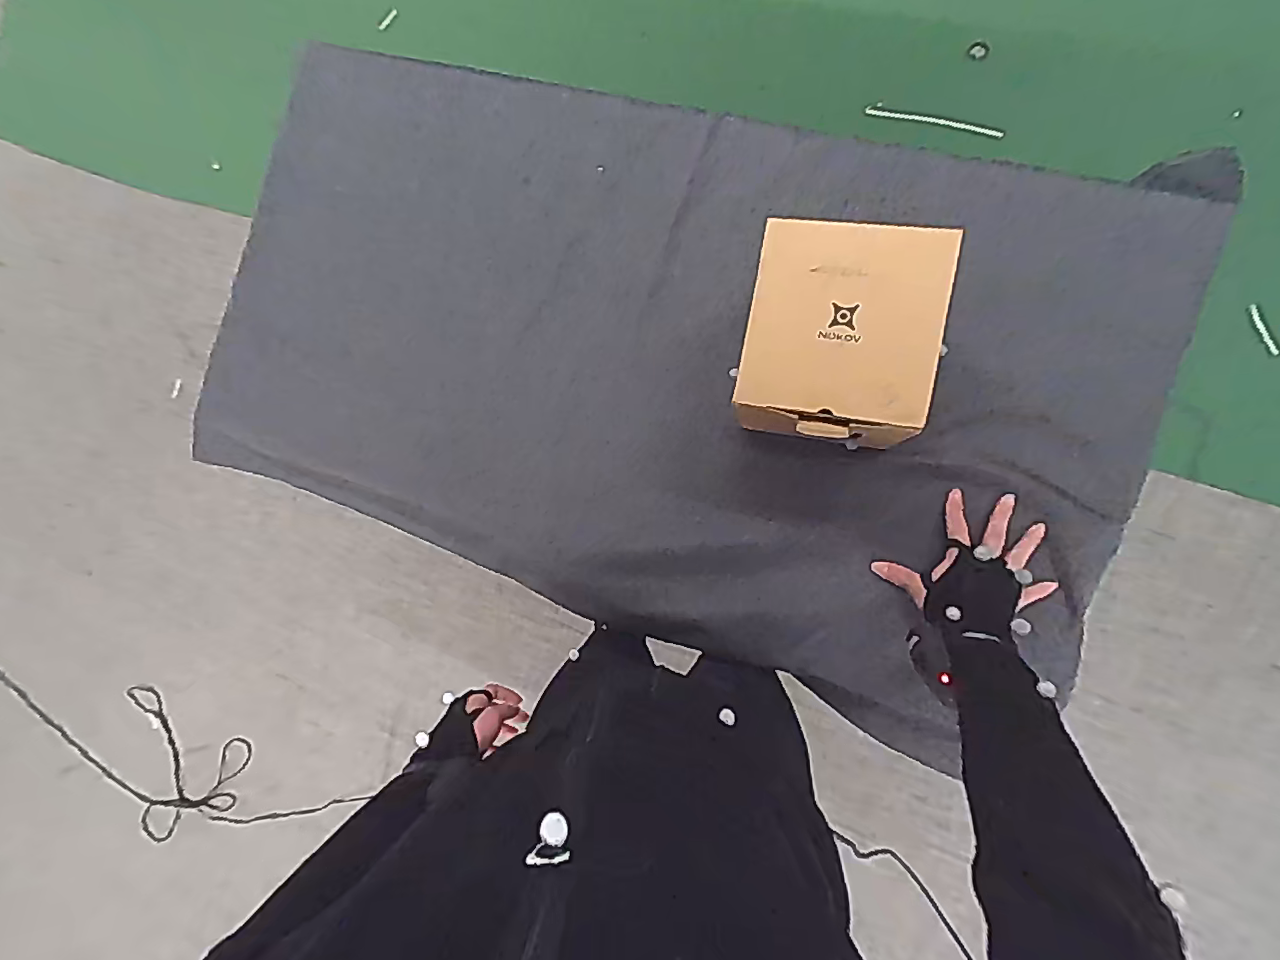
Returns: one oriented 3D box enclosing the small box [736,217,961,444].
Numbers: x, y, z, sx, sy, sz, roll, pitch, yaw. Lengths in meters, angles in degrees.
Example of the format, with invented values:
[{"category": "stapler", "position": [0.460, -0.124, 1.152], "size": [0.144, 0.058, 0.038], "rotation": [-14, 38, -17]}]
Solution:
[{"category": "small box", "position": [0.200, -0.140, 0.558], "size": [0.168, 0.176, 0.179], "rotation": [11, 89, 13]}]
